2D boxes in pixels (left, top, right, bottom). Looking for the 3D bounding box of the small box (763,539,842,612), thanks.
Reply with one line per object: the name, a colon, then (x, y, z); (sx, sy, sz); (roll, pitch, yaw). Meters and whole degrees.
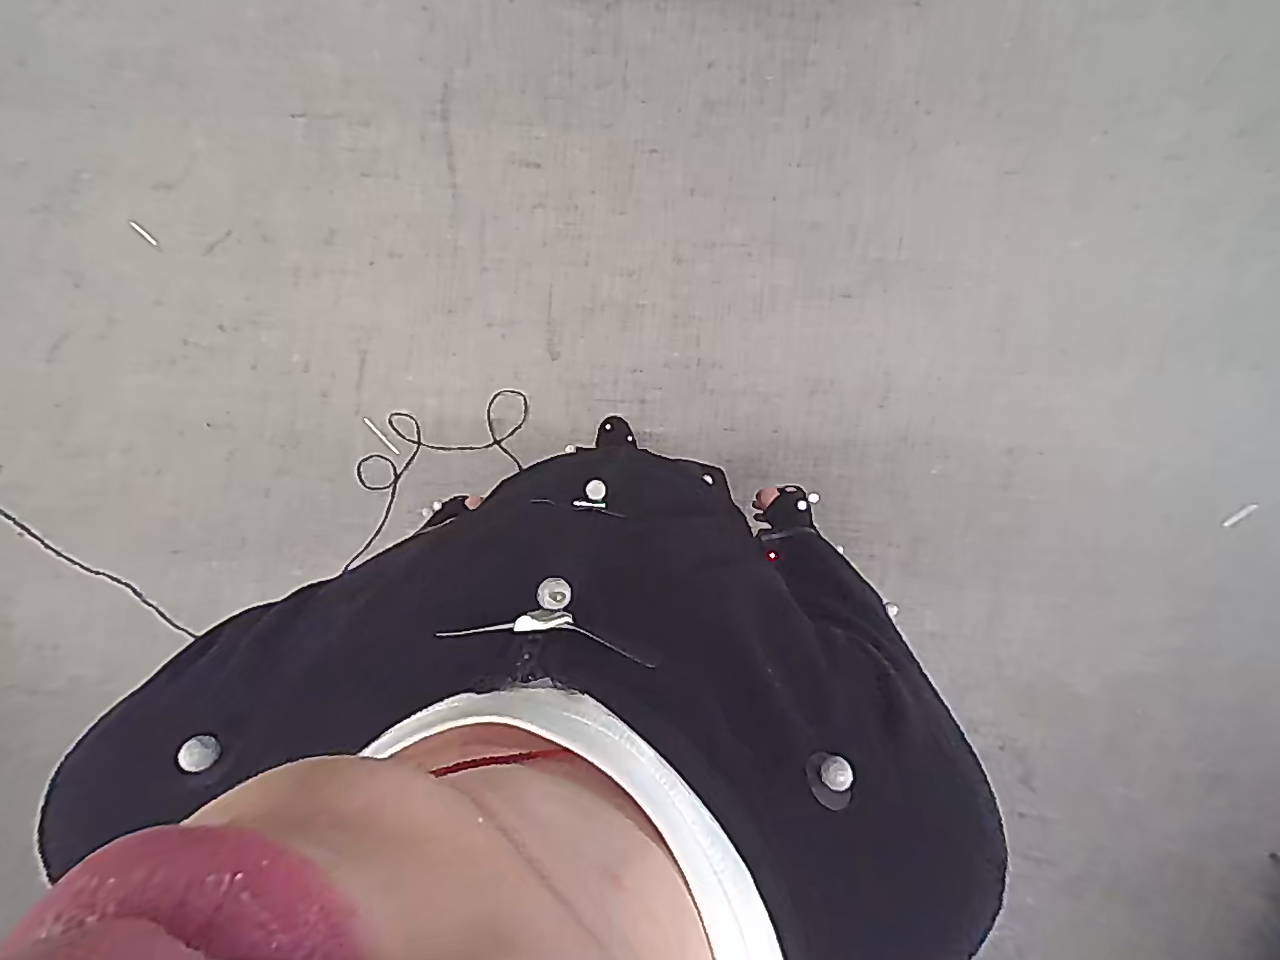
small box: (0.448, 0.263, 1.517); (0.179, 0.176, 0.168); (1, 95, 0)
